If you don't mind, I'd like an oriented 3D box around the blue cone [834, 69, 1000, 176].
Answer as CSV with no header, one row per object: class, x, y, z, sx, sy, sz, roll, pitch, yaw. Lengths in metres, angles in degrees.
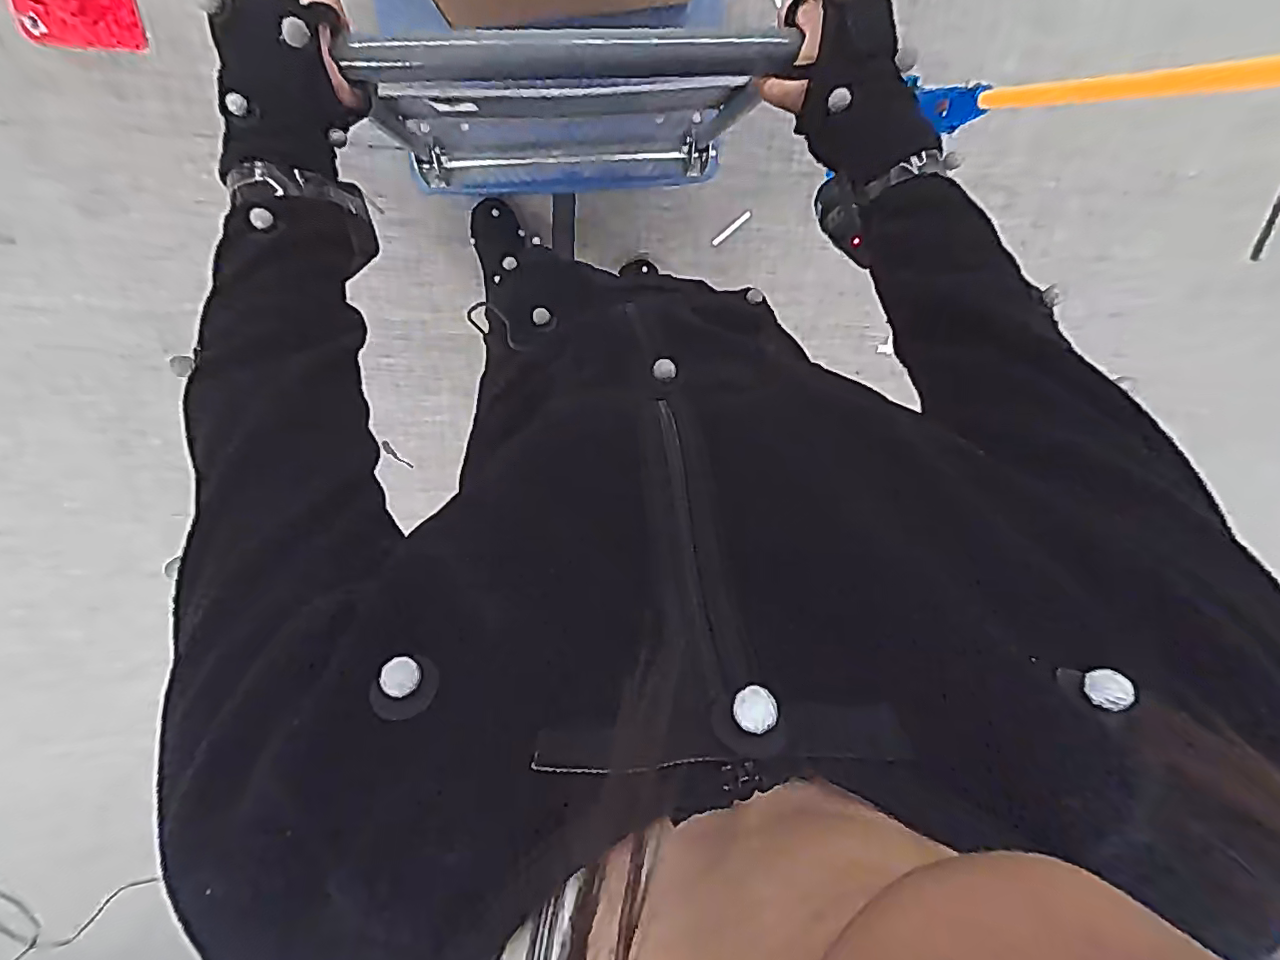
blue cone,0.546,-0.714,1.049,0.193,0.380,0.192,-4,115,-7
